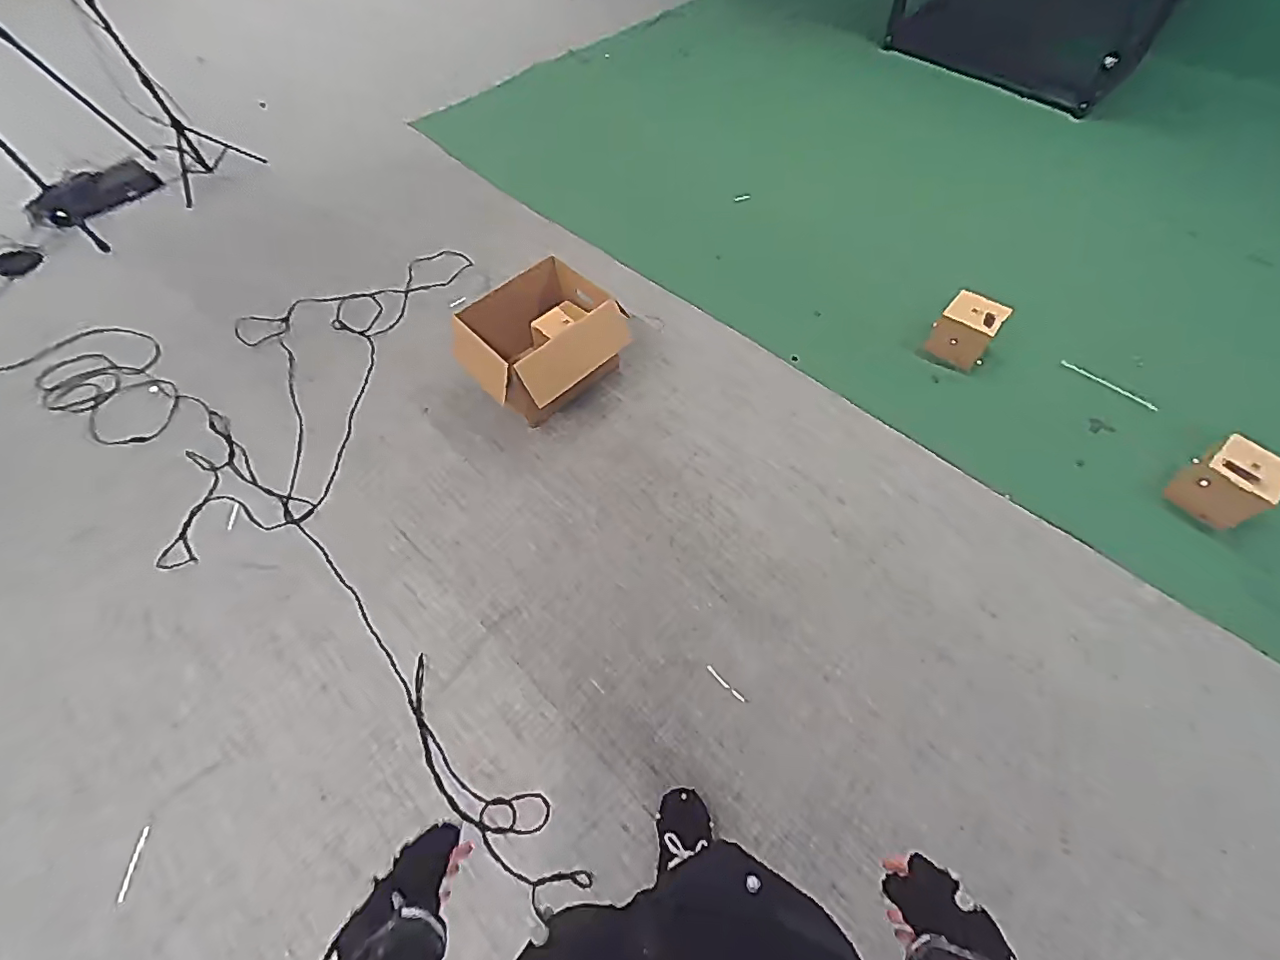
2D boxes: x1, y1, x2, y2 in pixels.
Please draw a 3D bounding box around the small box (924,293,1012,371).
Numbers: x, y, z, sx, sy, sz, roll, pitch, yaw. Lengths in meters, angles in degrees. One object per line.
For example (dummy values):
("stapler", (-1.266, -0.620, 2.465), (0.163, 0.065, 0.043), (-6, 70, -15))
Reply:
("small box", (1.129, -0.505, 1.871), (0.179, 0.176, 0.168), (36, 66, 23))
